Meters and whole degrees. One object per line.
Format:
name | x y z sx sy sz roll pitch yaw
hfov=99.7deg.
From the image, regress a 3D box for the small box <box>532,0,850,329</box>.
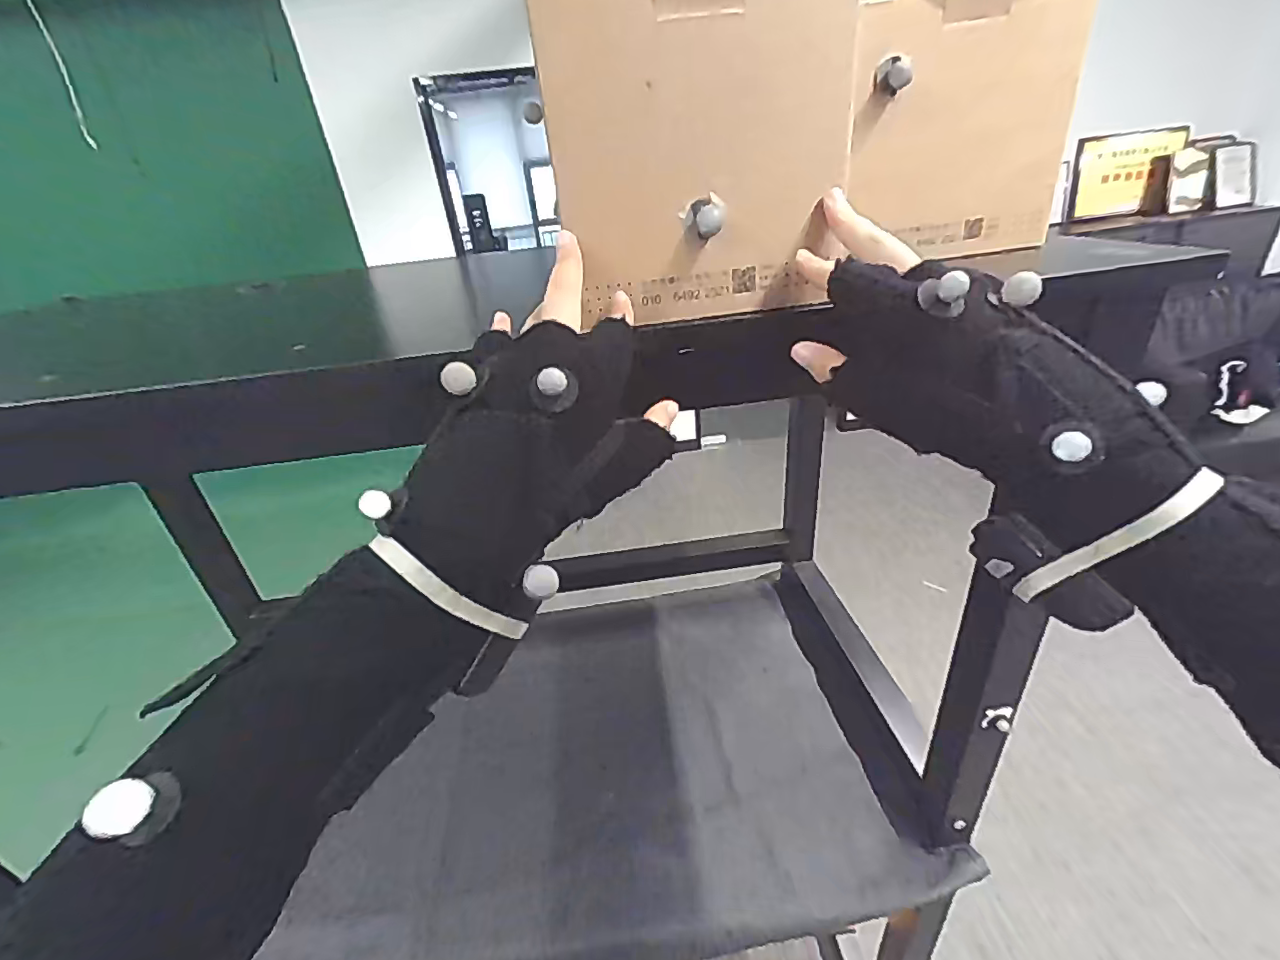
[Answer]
small box | 0.026 -0.211 0.380 0.168 0.176 0.179 -8 29 -2
